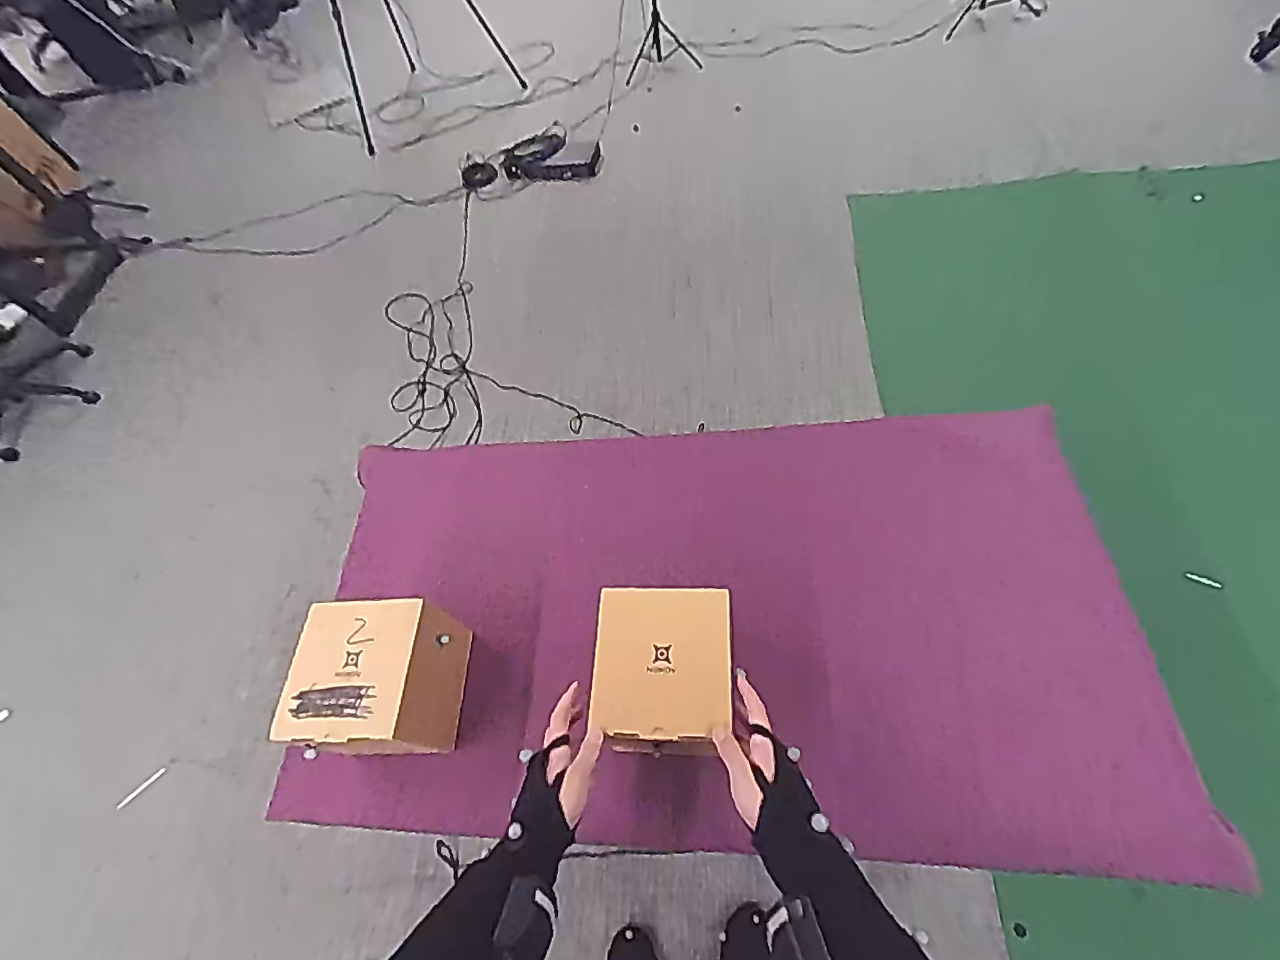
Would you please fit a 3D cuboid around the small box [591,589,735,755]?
[{"bbox_3d":[0.038,0.256,0.714,0.168,0.176,0.179,-1,60,8],"label":"small box"}]
